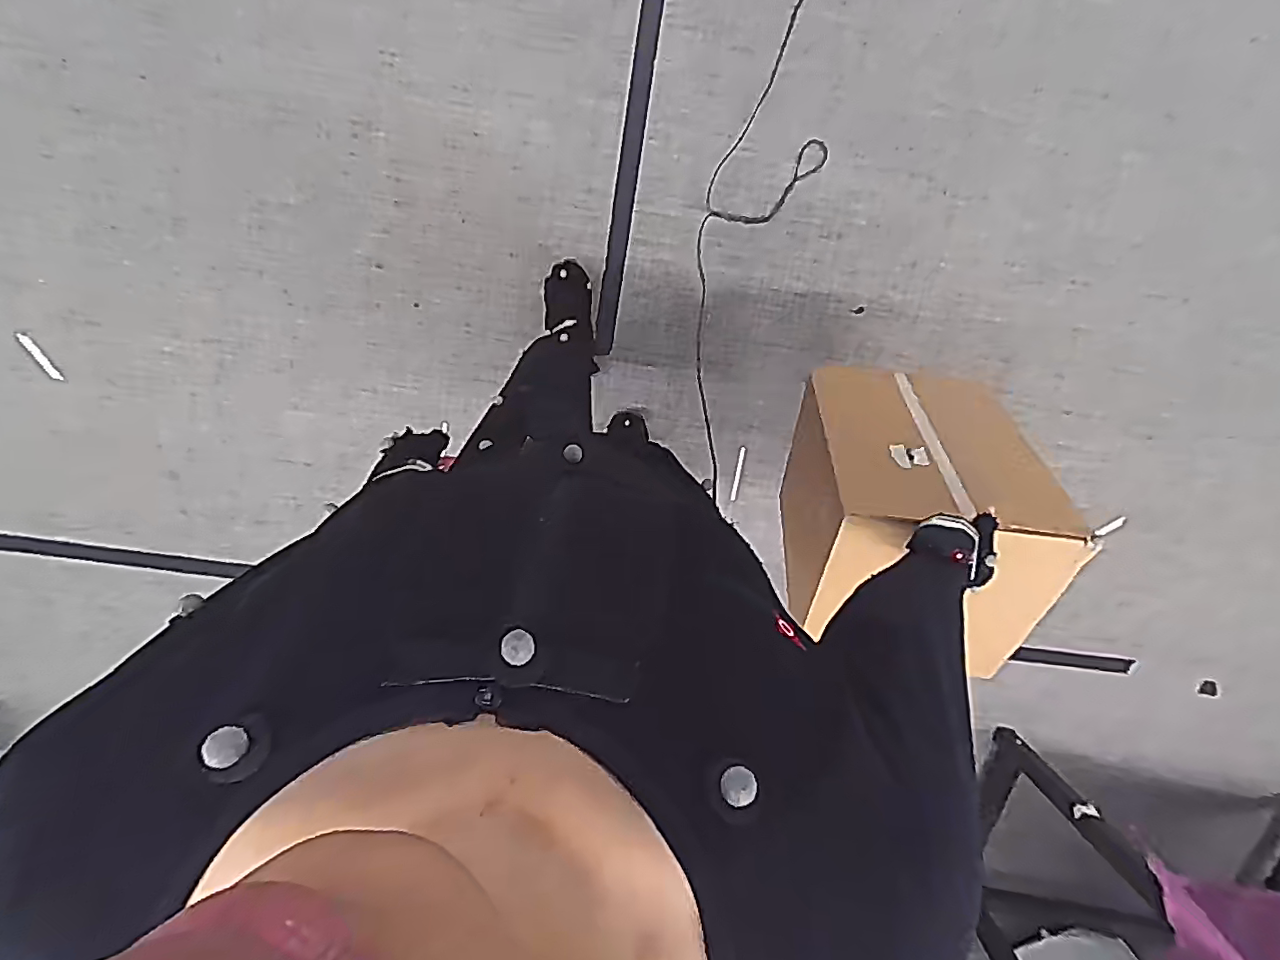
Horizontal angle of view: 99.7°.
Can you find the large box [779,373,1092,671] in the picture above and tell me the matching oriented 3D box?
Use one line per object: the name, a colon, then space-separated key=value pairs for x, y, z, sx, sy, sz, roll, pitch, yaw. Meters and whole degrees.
large box: x=0.442 y=0.057 z=0.943 sx=0.320 sy=0.408 sz=0.320 roll=6 pitch=130 yaw=5
